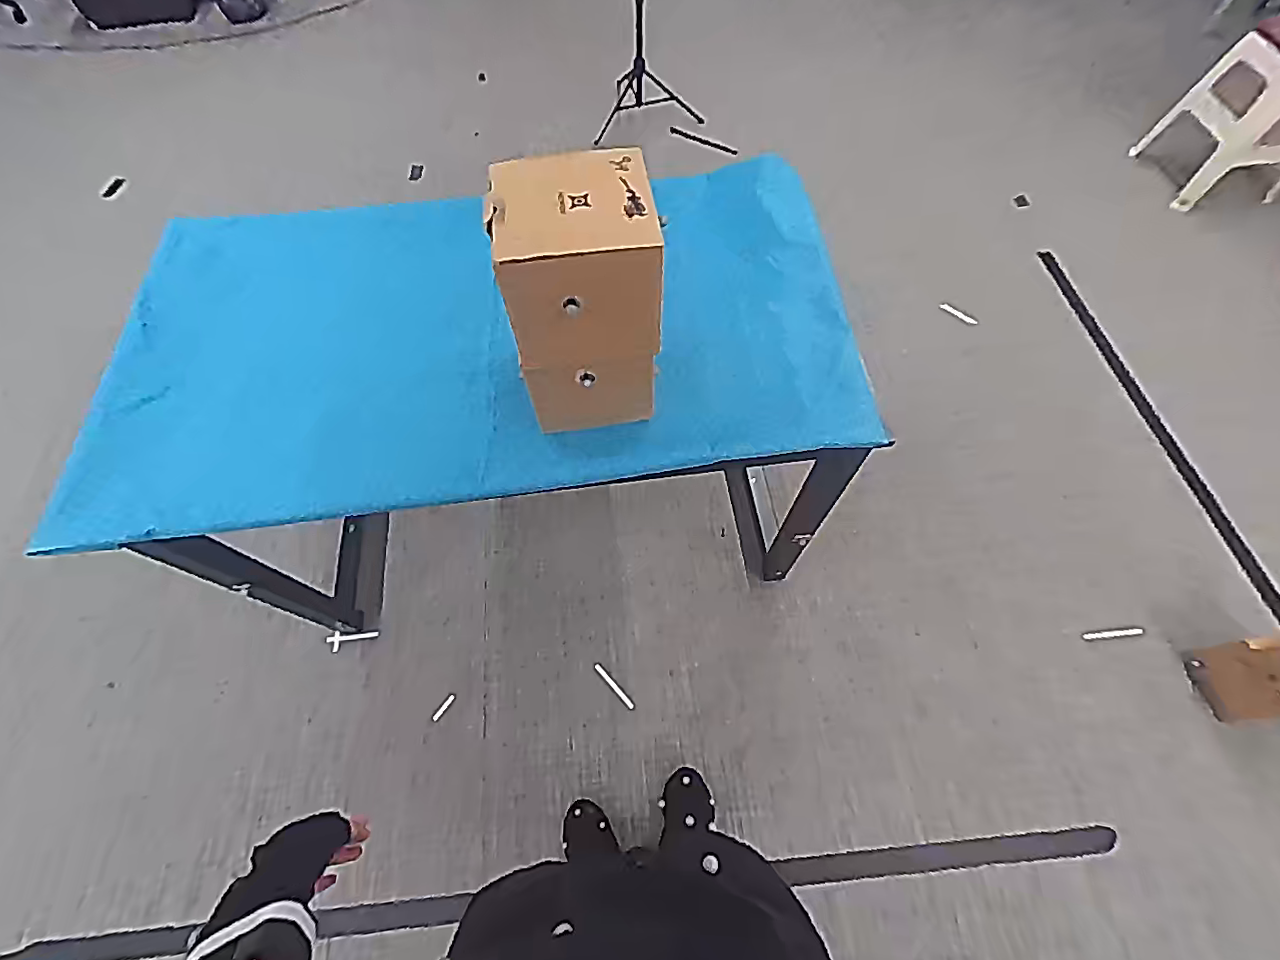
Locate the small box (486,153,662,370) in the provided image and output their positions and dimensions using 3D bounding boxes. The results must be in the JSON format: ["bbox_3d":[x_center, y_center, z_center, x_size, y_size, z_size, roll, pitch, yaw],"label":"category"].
[{"bbox_3d":[-0.073,-0.252,0.649,0.179,0.176,0.168,-10,63,-4],"label":"small box"}]

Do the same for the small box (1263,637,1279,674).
[{"bbox_3d":[1.448,0.367,1.081,0.179,0.176,0.168,-20,63,-6],"label":"small box"}]

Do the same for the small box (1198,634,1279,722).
[{"bbox_3d":[1.442,0.447,1.226,0.179,0.176,0.168,-7,63,-3],"label":"small box"}]

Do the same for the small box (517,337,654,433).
[{"bbox_3d":[-0.076,-0.183,0.796,0.179,0.176,0.168,-7,63,-2],"label":"small box"}]
